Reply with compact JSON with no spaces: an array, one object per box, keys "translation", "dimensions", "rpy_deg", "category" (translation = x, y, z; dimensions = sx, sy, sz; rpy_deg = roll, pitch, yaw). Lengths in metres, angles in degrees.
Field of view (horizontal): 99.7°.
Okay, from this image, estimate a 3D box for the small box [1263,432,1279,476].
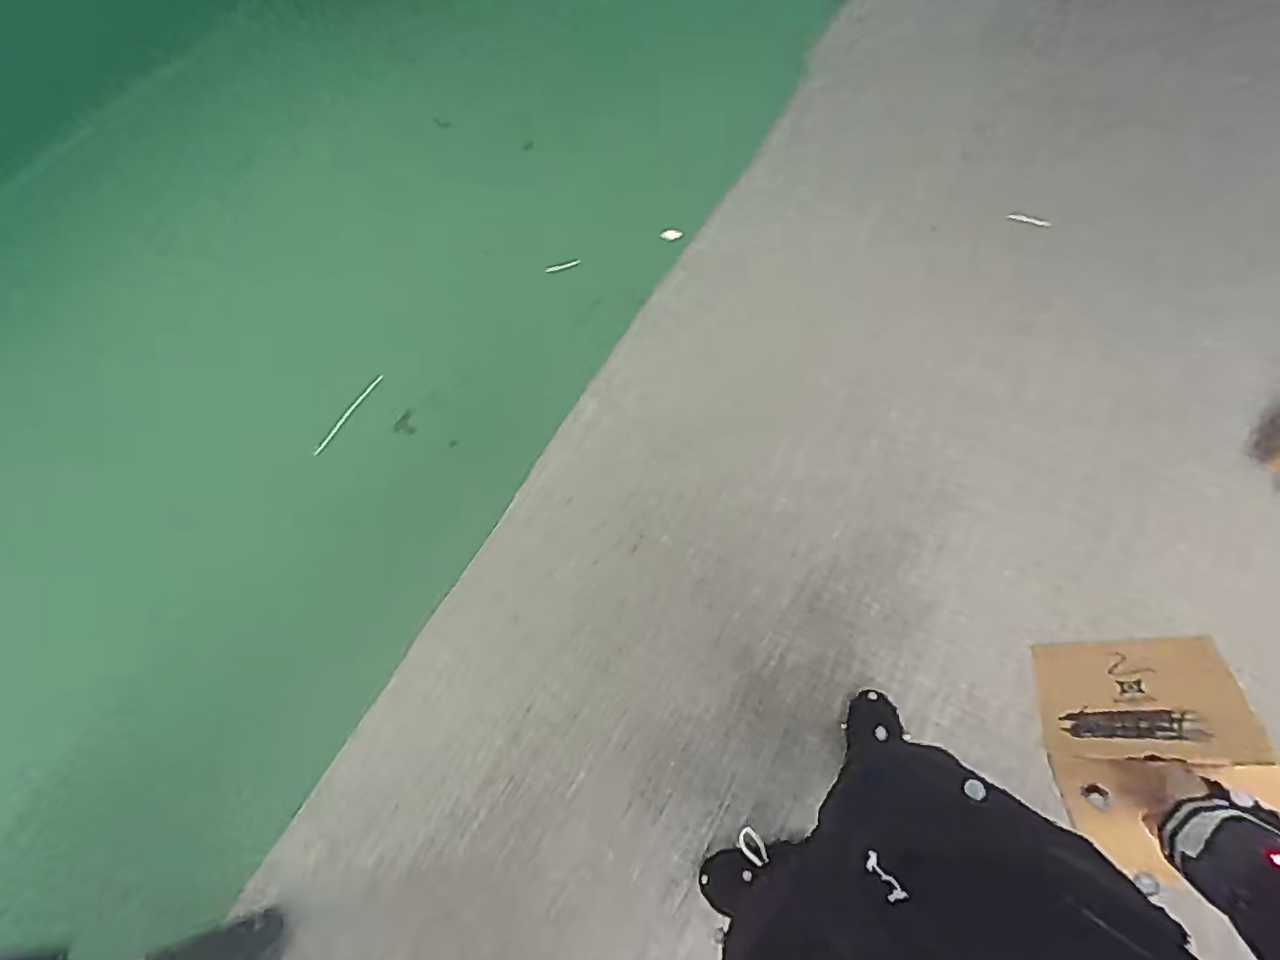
[{"translation":[1.476,-0.080,1.117],"dimensions":[0.168,0.176,0.179],"rpy_deg":[37,77,22],"category":"small box"}]
